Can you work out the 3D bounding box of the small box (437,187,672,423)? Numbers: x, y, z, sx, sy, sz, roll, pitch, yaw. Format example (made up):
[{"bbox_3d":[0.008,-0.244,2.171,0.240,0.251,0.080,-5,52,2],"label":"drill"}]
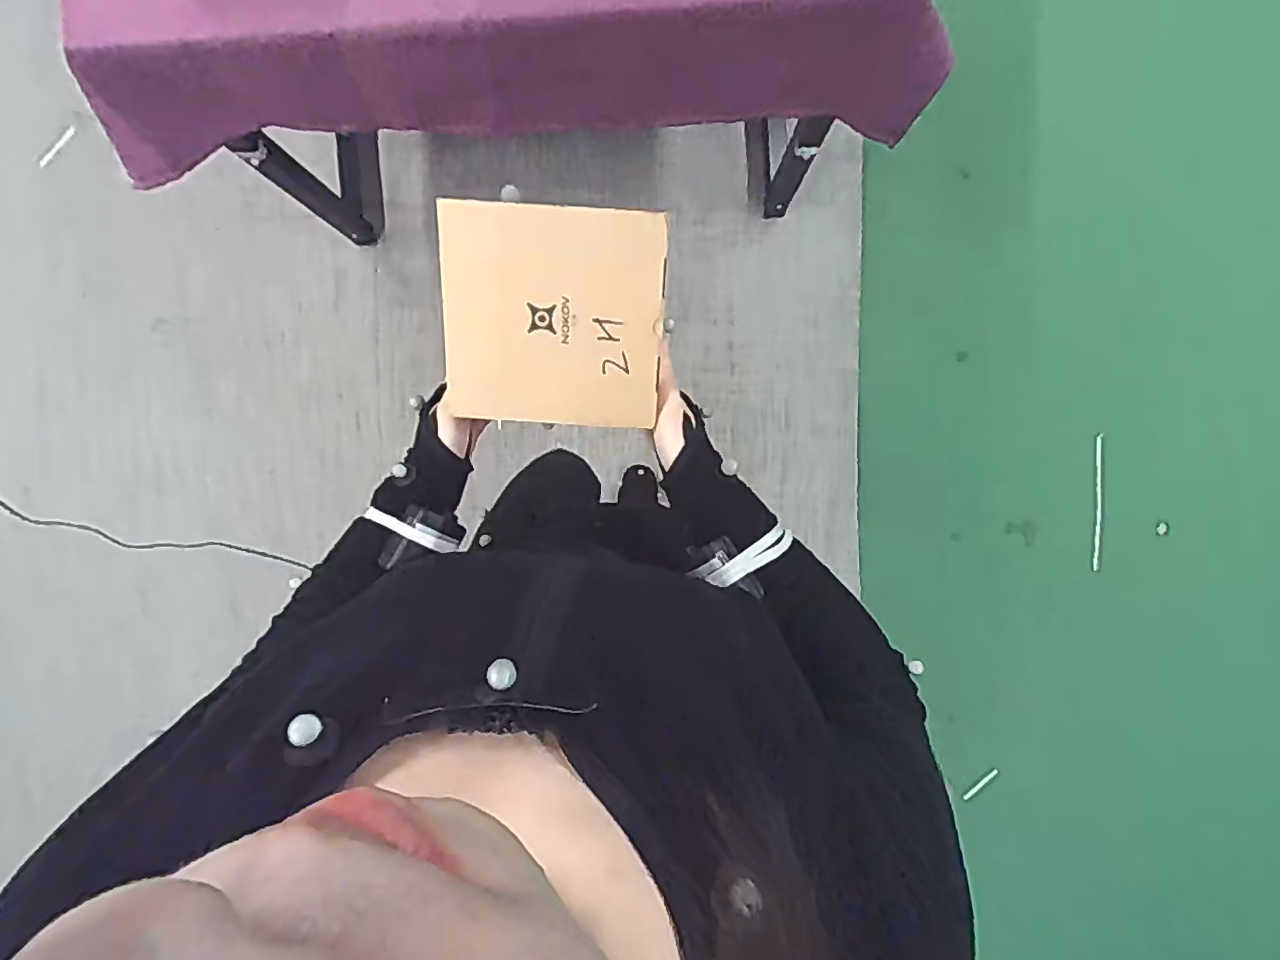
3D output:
[{"bbox_3d":[-0.067,-0.157,0.497,0.179,0.176,0.168,4,110,-1],"label":"small box"}]
